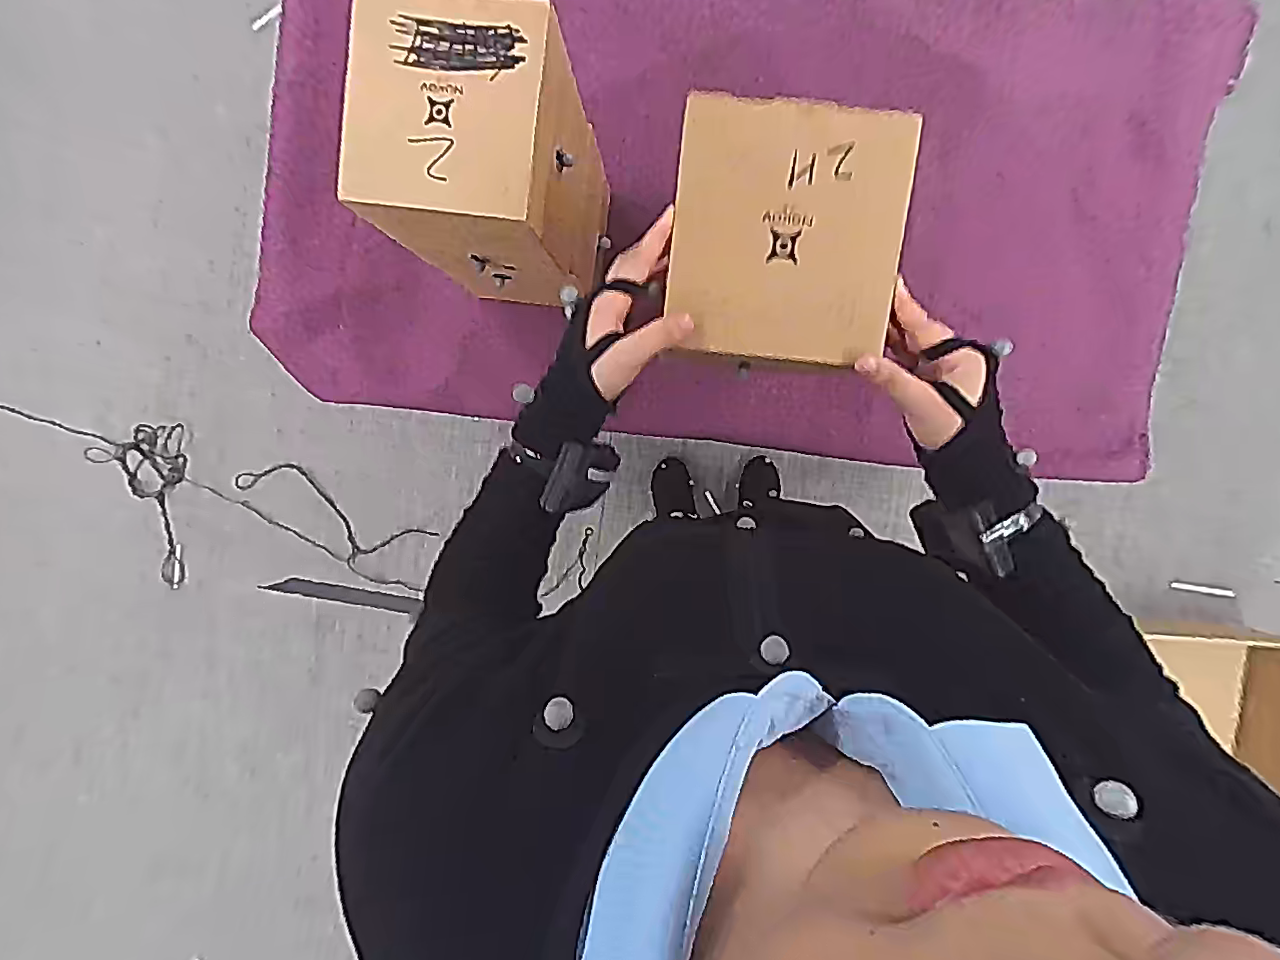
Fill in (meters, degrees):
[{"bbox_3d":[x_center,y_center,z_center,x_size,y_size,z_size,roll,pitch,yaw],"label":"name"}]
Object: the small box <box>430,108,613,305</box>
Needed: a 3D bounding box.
[{"bbox_3d":[-0.139,-0.330,0.685,0.179,0.176,0.168,8,95,3],"label":"small box"}]
